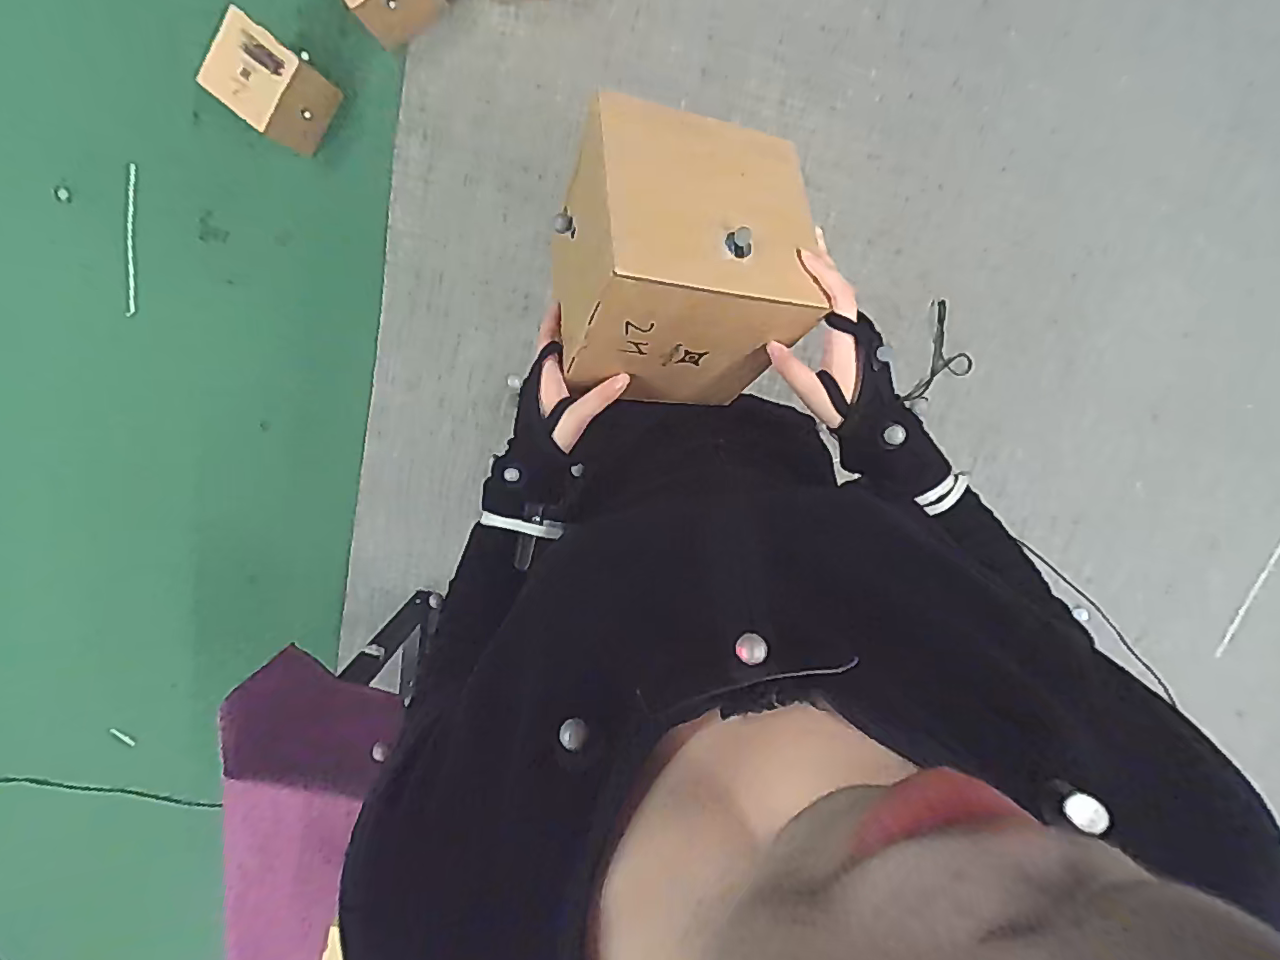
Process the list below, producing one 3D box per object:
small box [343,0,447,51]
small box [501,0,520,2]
[{"bbox_3d":[-0.550,-1.078,1.153,0.179,0.176,0.168,-29,101,9],"label":"small box"},{"bbox_3d":[-0.259,-1.140,1.124,0.168,0.176,0.179,-3,105,3],"label":"small box"}]
